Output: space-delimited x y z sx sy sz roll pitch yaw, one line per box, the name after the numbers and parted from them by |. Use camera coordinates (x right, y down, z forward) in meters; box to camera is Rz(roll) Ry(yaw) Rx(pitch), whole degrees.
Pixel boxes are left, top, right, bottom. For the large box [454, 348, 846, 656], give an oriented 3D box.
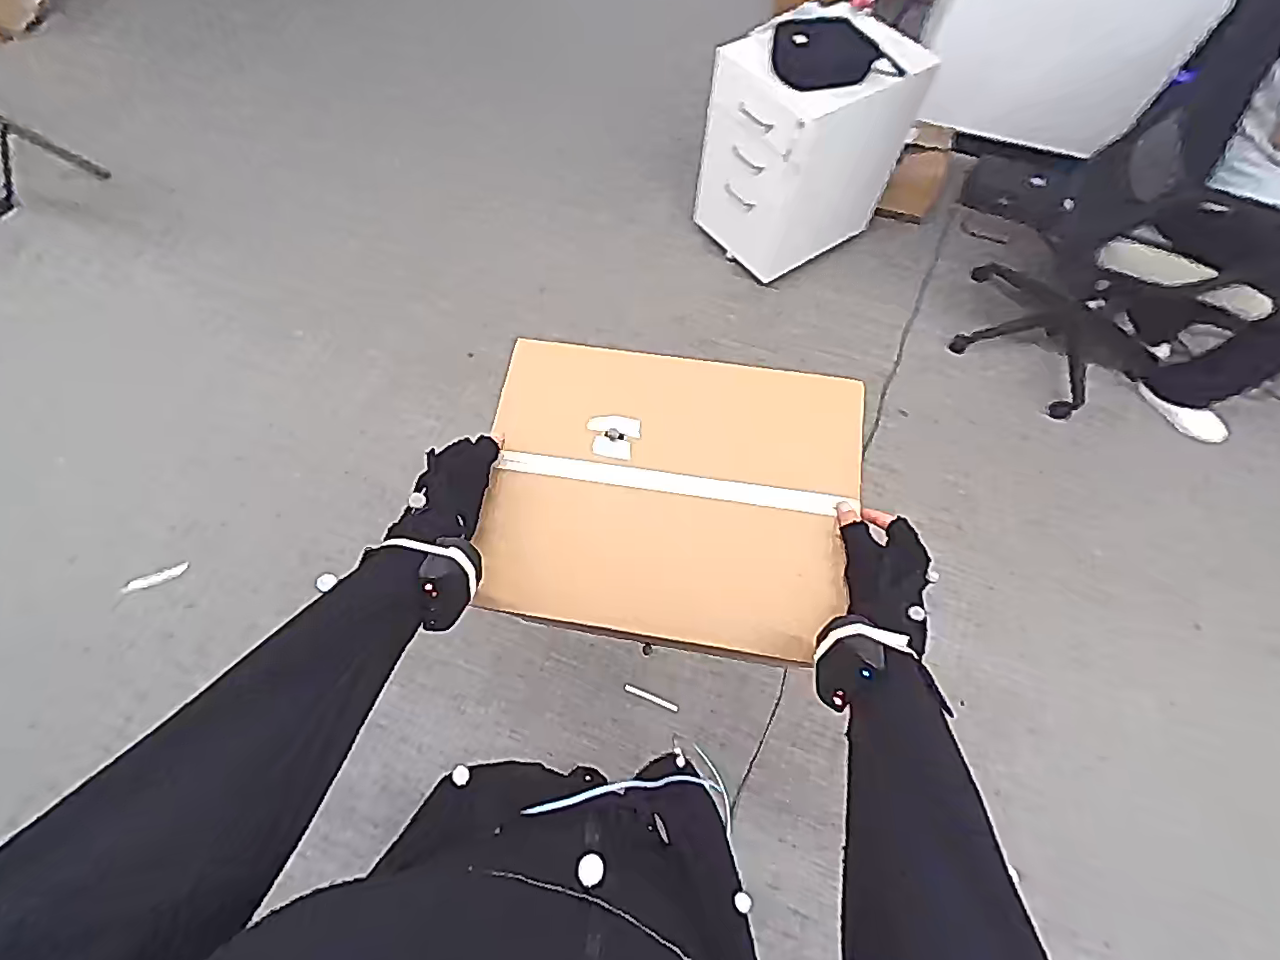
0.030 0.052 0.735 0.408 0.320 0.320 8 71 6 | large box
